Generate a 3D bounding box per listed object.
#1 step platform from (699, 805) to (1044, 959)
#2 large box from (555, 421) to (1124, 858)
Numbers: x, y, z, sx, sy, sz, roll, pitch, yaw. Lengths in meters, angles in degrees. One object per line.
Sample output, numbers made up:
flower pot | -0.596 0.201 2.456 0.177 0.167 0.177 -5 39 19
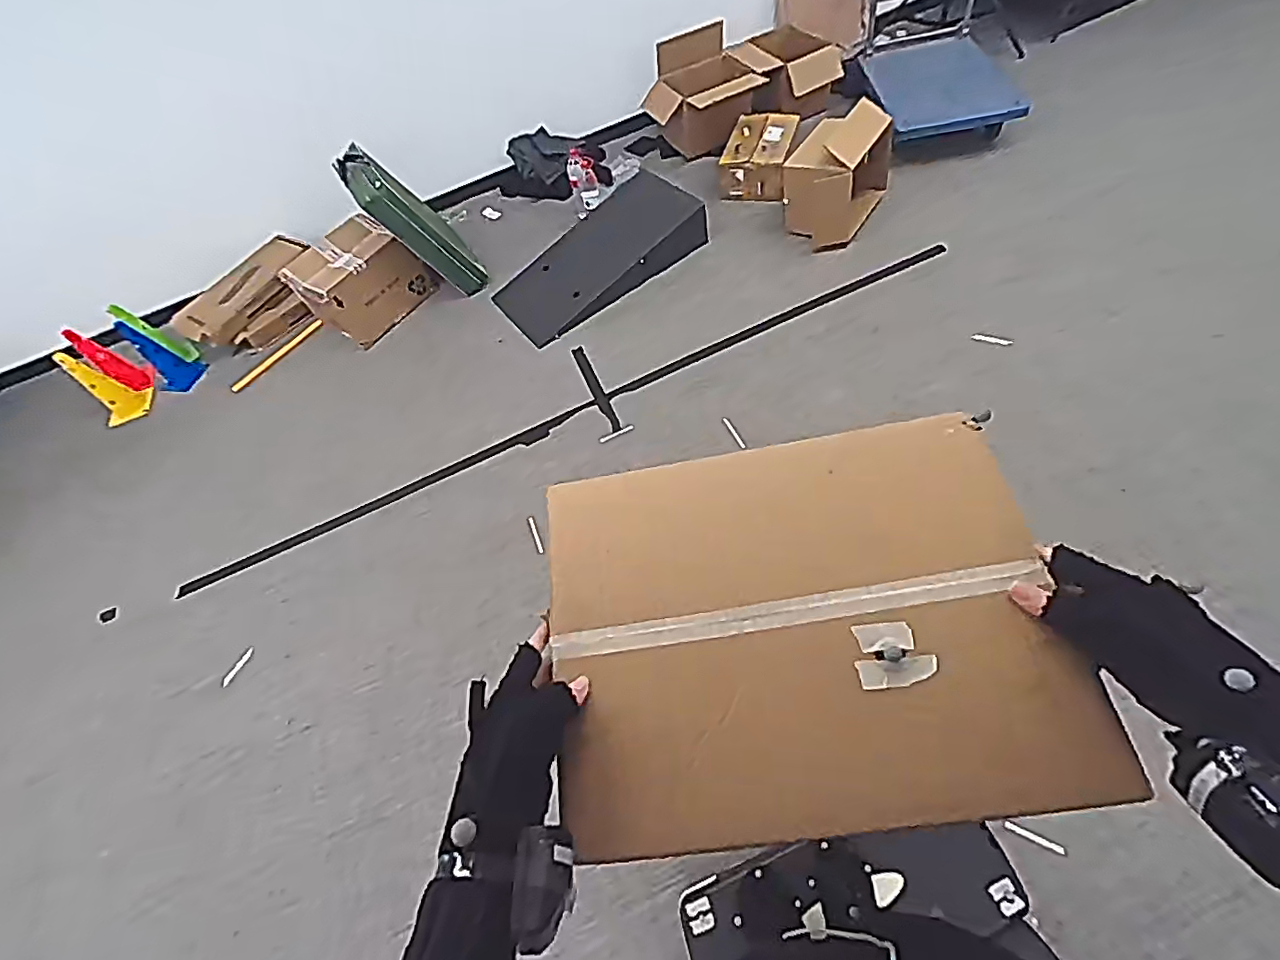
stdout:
step platform | 0.473 0.887 1.165 0.684 0.204 0.286 -25 56 -5
large box | 0.149 0.180 0.591 0.408 0.320 0.320 -11 63 5
